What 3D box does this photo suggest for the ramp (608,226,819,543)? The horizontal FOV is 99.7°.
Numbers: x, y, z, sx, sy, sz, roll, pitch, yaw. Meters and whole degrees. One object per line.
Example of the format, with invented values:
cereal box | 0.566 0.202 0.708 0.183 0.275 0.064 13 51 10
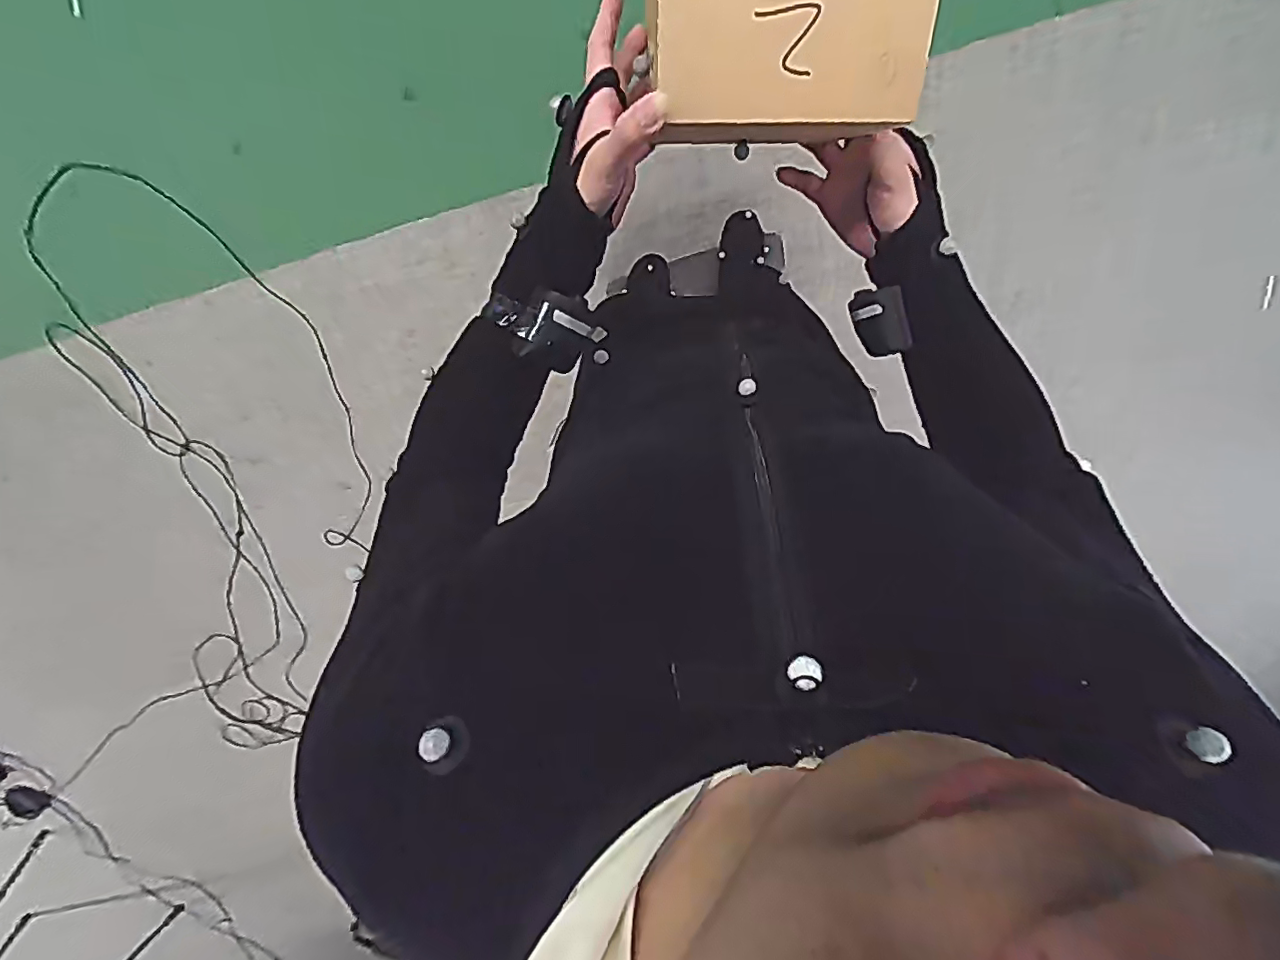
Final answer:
ramp | 0.284 -0.215 1.707 0.509 0.206 0.991 -17 115 6
